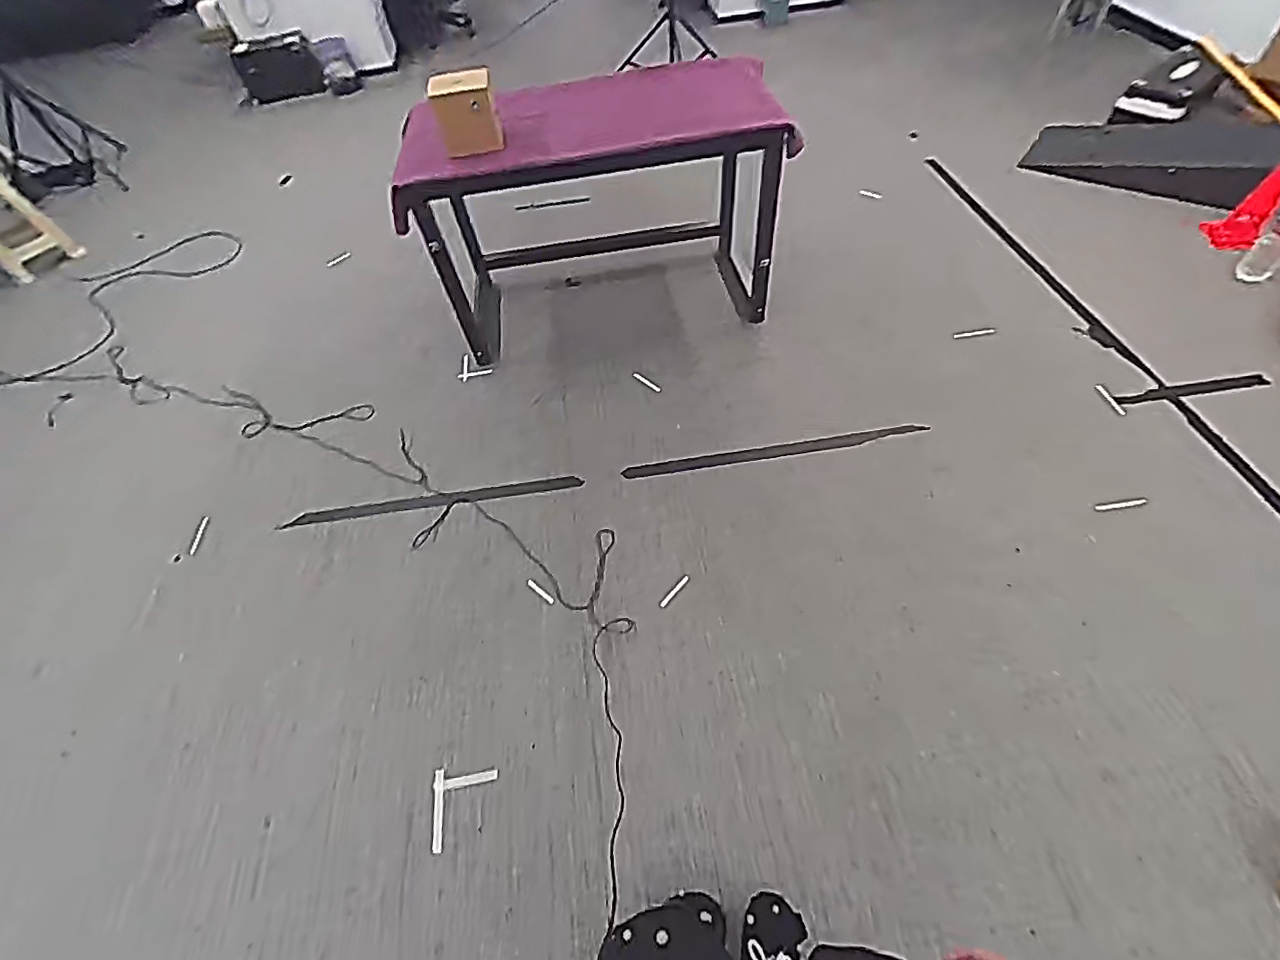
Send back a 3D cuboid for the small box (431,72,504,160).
[{"bbox_3d":[-0.519,-1.110,1.654,0.179,0.176,0.168,-11,52,-2],"label":"small box"}]
